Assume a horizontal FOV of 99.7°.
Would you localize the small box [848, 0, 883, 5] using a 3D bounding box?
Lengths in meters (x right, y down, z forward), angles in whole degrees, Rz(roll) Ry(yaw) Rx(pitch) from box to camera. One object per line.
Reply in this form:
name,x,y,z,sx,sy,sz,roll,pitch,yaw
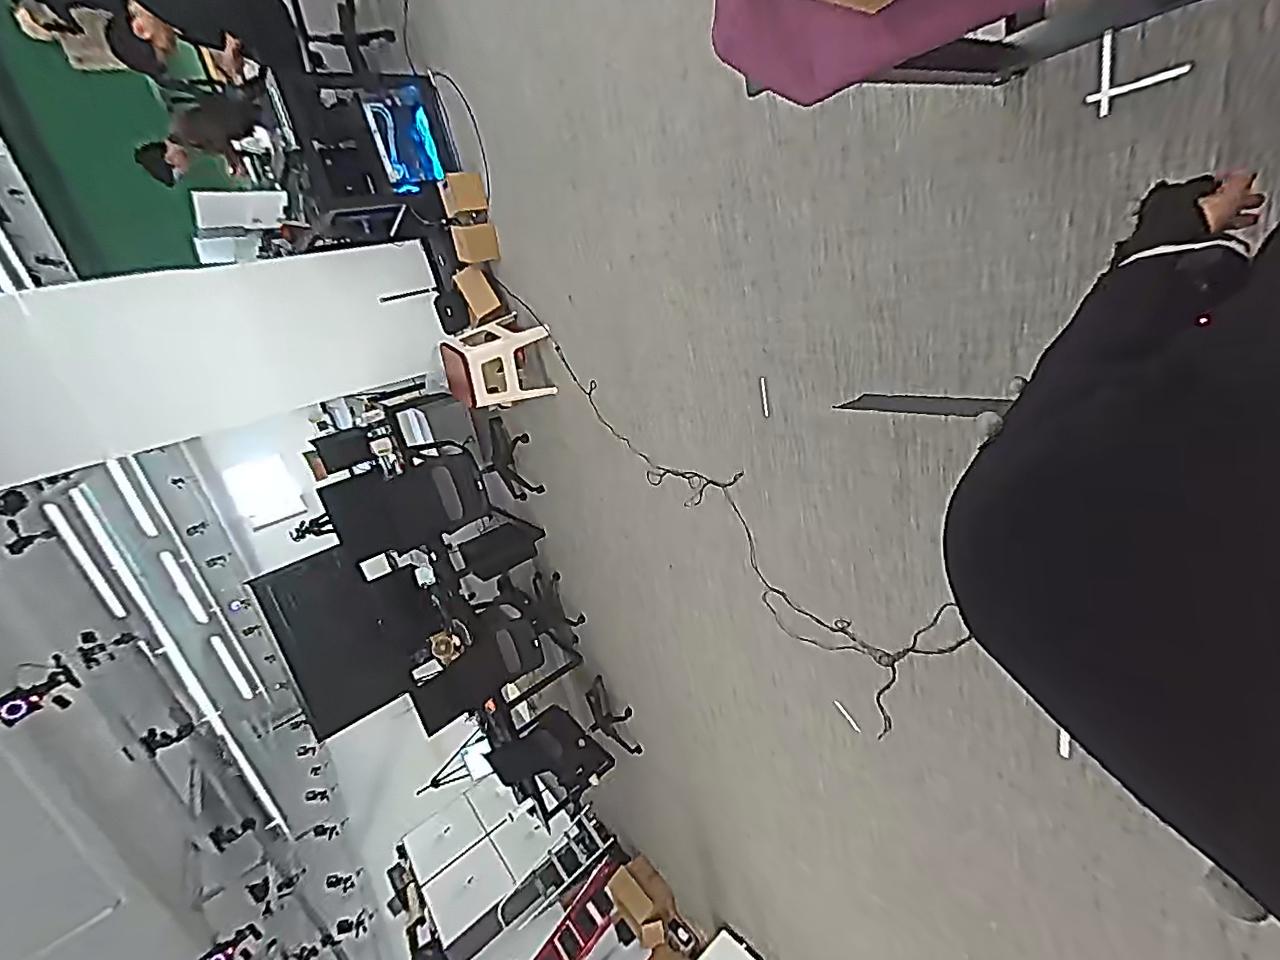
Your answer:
small box,0.216,-0.533,0.438,0.179,0.176,0.168,7,117,50
